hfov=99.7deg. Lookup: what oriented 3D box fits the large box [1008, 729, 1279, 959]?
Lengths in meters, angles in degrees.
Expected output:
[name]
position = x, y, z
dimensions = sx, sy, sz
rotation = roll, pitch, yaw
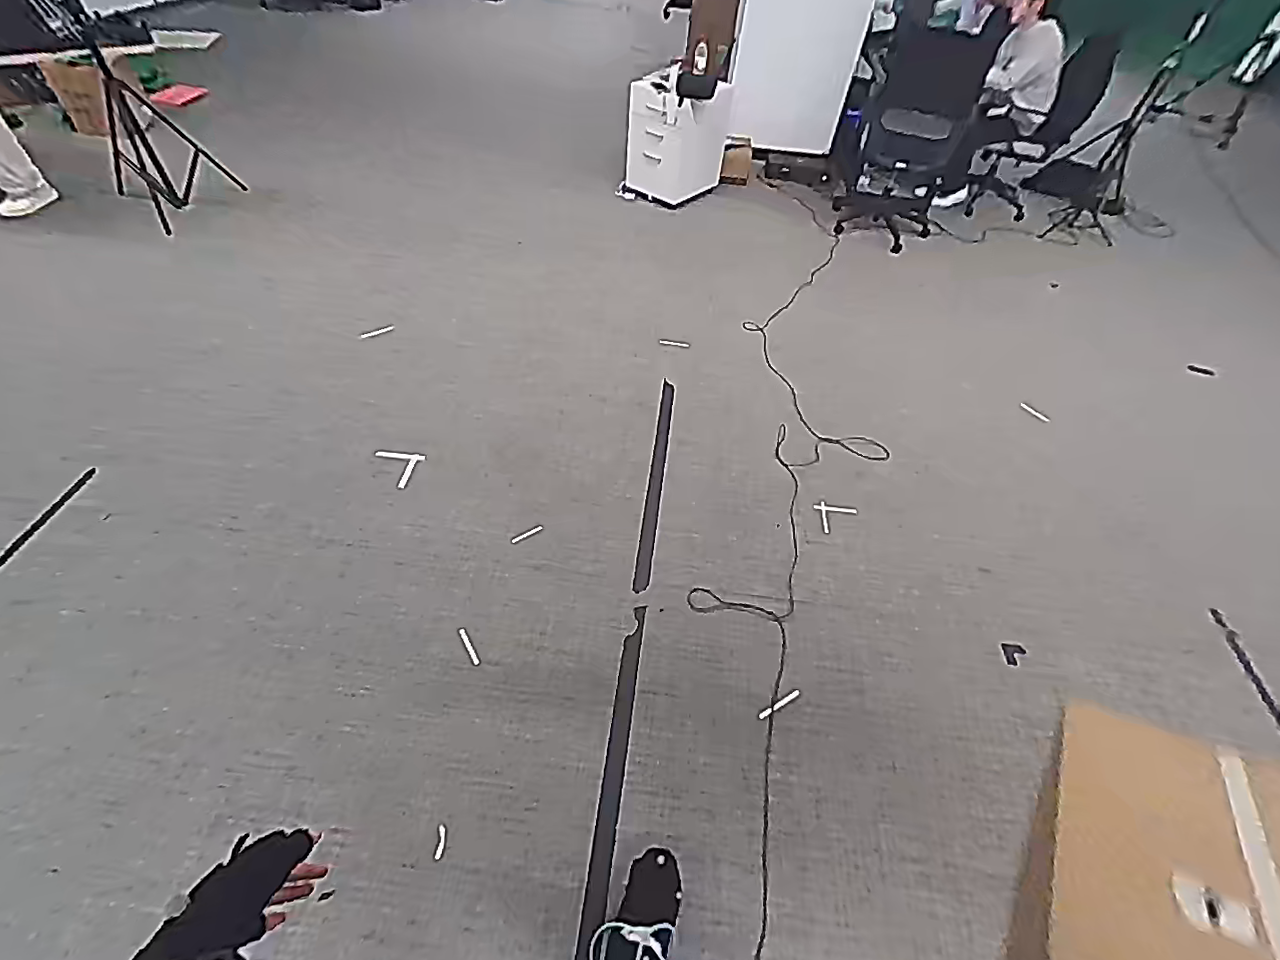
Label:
[large box]
position = 0.574, 0.552, 0.547
dimensions = 0.320, 0.320, 0.408
rotation = 10, 18, 37
